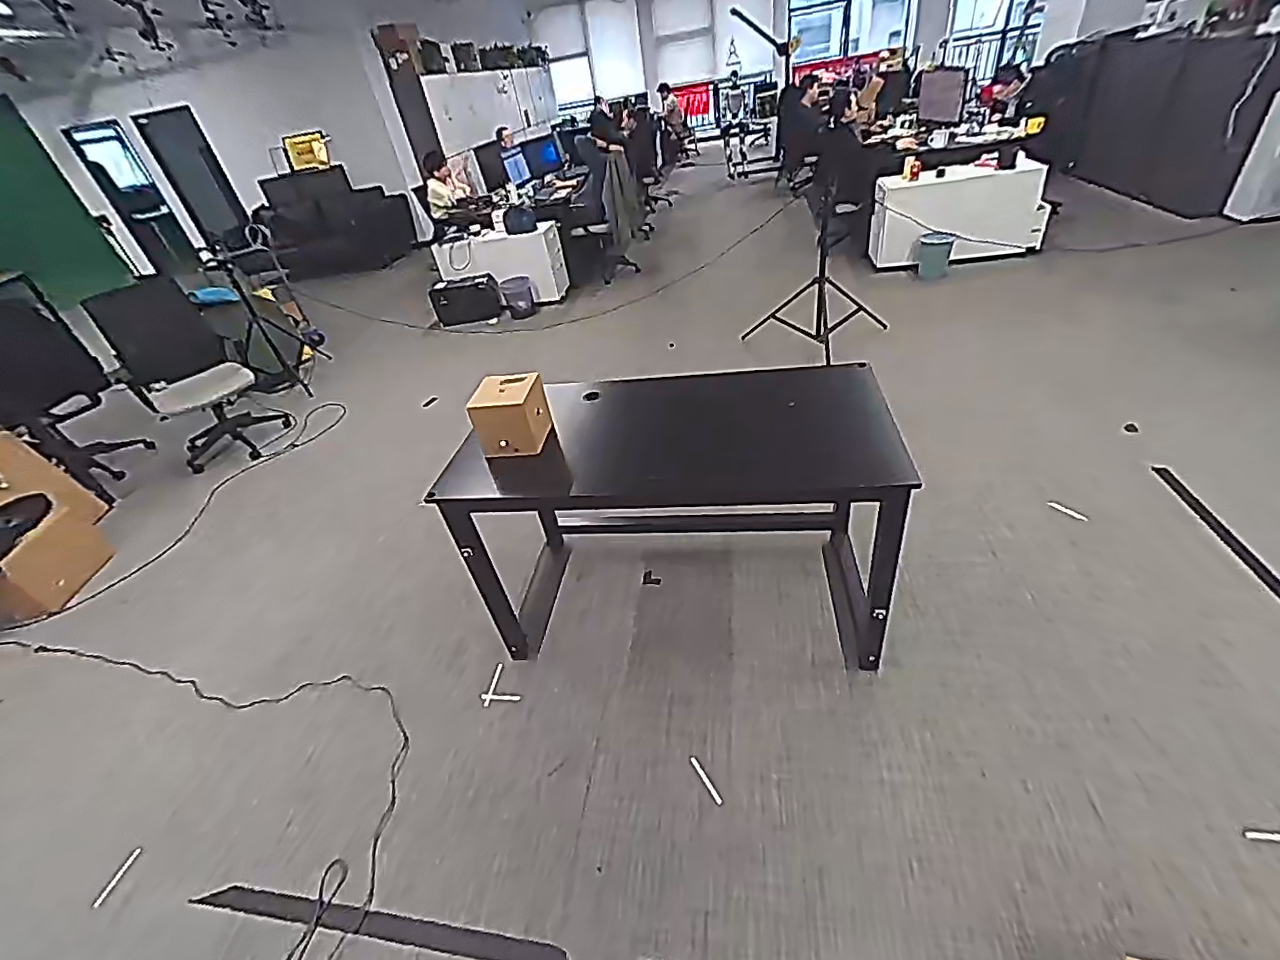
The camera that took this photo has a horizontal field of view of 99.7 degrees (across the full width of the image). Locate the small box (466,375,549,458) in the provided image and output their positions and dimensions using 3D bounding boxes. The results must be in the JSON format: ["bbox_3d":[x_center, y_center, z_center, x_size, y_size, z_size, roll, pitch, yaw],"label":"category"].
[{"bbox_3d":[-0.367,-0.181,1.540,0.168,0.176,0.179,-3,38,10],"label":"small box"}]
